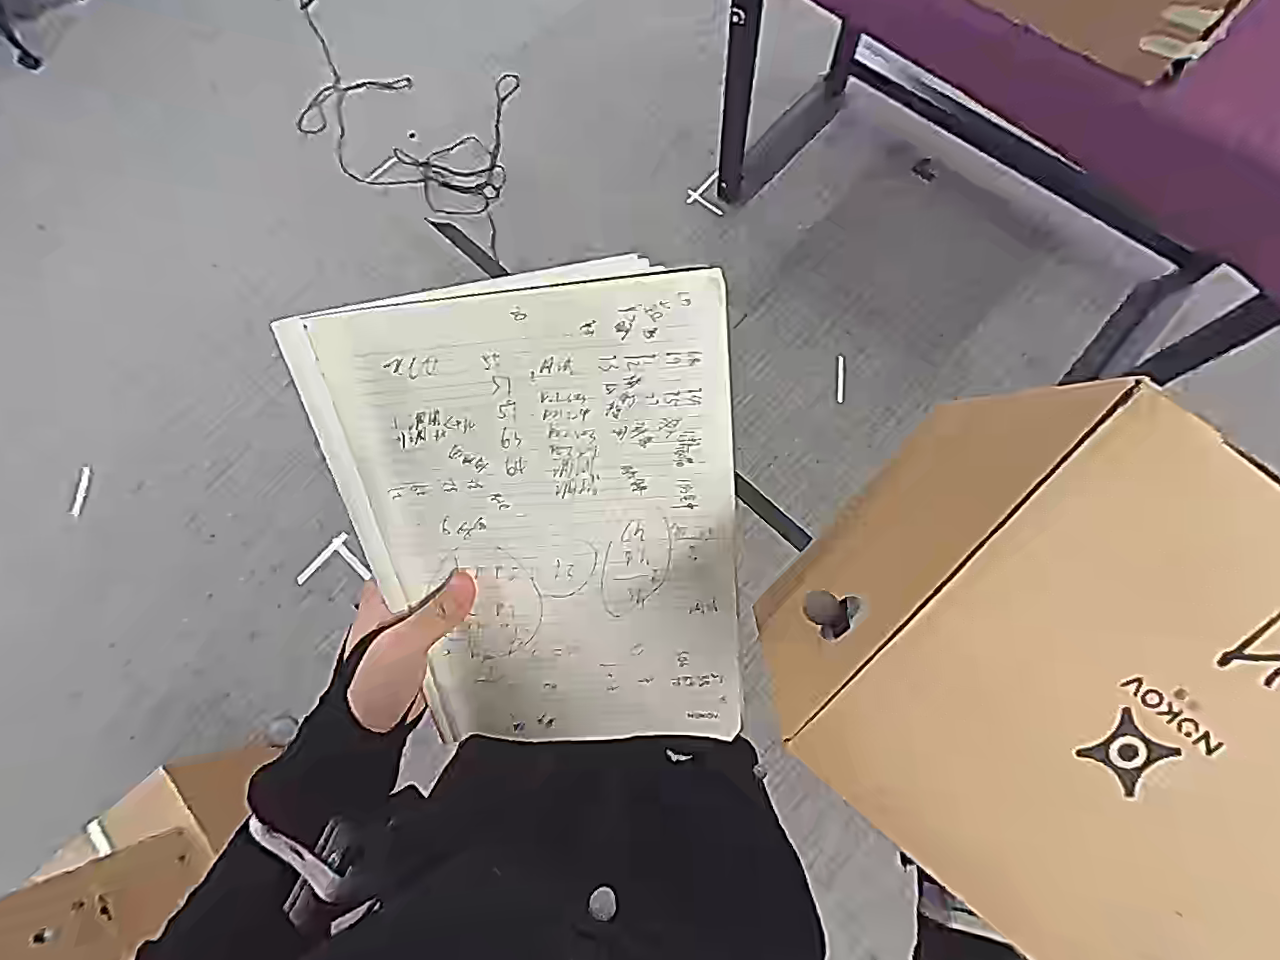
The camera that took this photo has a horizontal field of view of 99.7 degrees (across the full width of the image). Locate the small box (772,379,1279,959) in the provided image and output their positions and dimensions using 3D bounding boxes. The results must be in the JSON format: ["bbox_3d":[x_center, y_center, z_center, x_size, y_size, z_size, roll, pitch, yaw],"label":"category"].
[{"bbox_3d":[0.180,0.077,0.259,0.168,0.176,0.179,39,99,3],"label":"small box"}]

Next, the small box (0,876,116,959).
[{"bbox_3d":[-0.901,0.712,0.756,0.179,0.176,0.168,-43,75,-9],"label":"small box"}]

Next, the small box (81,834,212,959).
[{"bbox_3d":[-0.880,0.750,0.915,0.179,0.176,0.168,-41,75,-6],"label":"small box"}]
